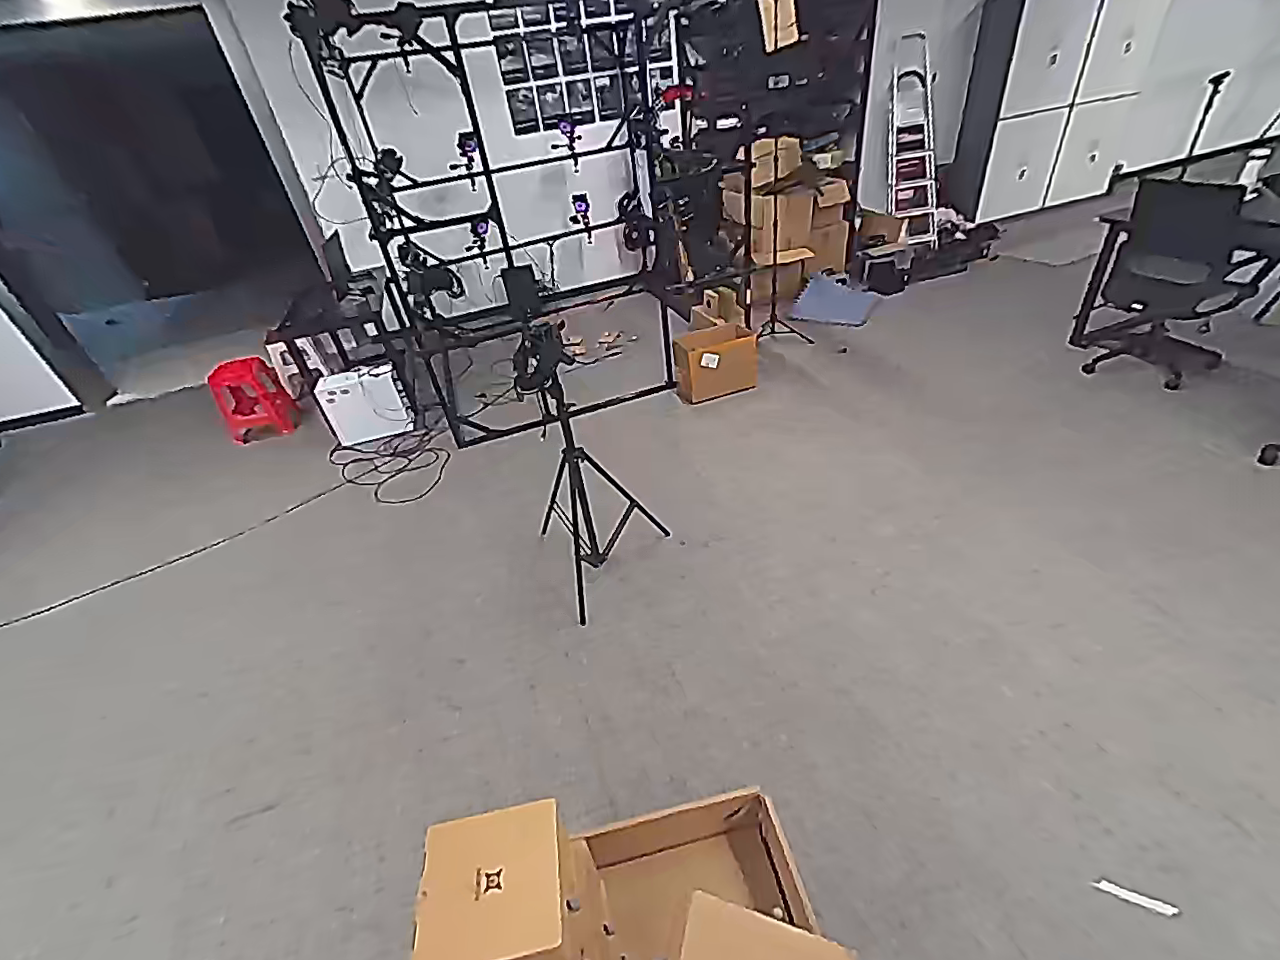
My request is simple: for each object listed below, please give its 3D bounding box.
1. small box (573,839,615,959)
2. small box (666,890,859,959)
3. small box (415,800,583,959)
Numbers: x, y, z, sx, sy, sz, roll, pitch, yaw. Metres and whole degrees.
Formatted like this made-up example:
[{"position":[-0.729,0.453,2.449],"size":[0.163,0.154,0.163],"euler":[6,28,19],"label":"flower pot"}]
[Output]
[{"position":[-0.132,0.688,0.809],"size":[0.168,0.176,0.179],"euler":[-13,35,-7],"label":"small box"},{"position":[0.115,0.571,0.582],"size":[0.179,0.176,0.168],"euler":[15,52,9],"label":"small box"},{"position":[-0.174,0.561,0.713],"size":[0.179,0.176,0.168],"euler":[-11,35,-5],"label":"small box"}]
